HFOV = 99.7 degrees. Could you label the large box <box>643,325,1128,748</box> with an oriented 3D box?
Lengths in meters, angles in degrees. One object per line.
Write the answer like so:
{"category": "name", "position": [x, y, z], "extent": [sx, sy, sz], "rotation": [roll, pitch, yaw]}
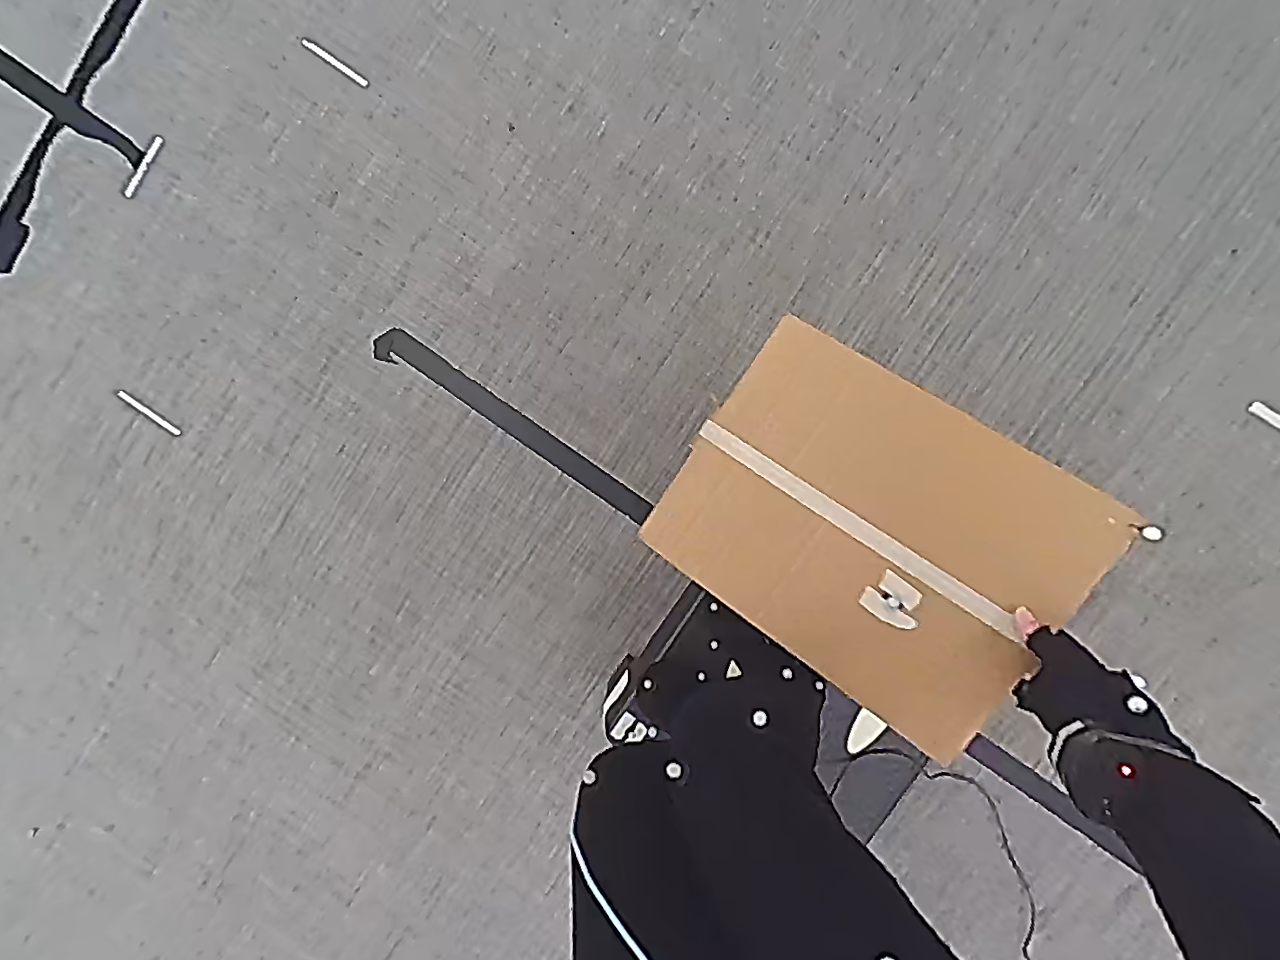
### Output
{"category": "large box", "position": [0.279, 0.054, 0.736], "extent": [0.408, 0.320, 0.320], "rotation": [35, 99, 15]}
